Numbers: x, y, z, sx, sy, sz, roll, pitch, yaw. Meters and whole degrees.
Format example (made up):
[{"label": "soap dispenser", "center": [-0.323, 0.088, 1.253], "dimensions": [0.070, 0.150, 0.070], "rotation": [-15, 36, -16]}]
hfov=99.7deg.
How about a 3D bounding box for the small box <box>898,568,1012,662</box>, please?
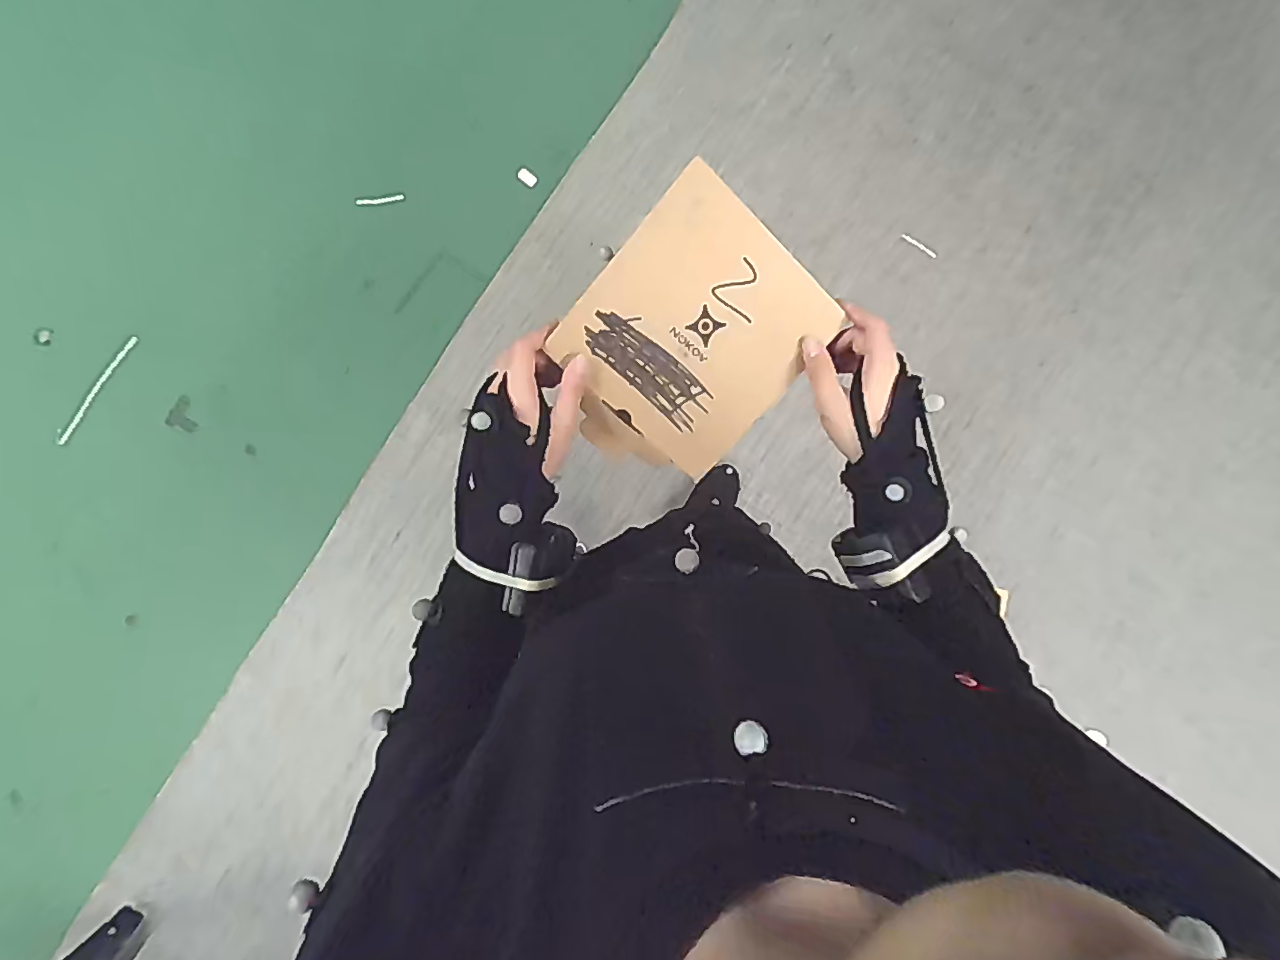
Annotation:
[{"label": "small box", "center": [0.763, 0.322, 1.329], "dimensions": [0.168, 0.176, 0.179], "rotation": [12, 89, -2]}]
